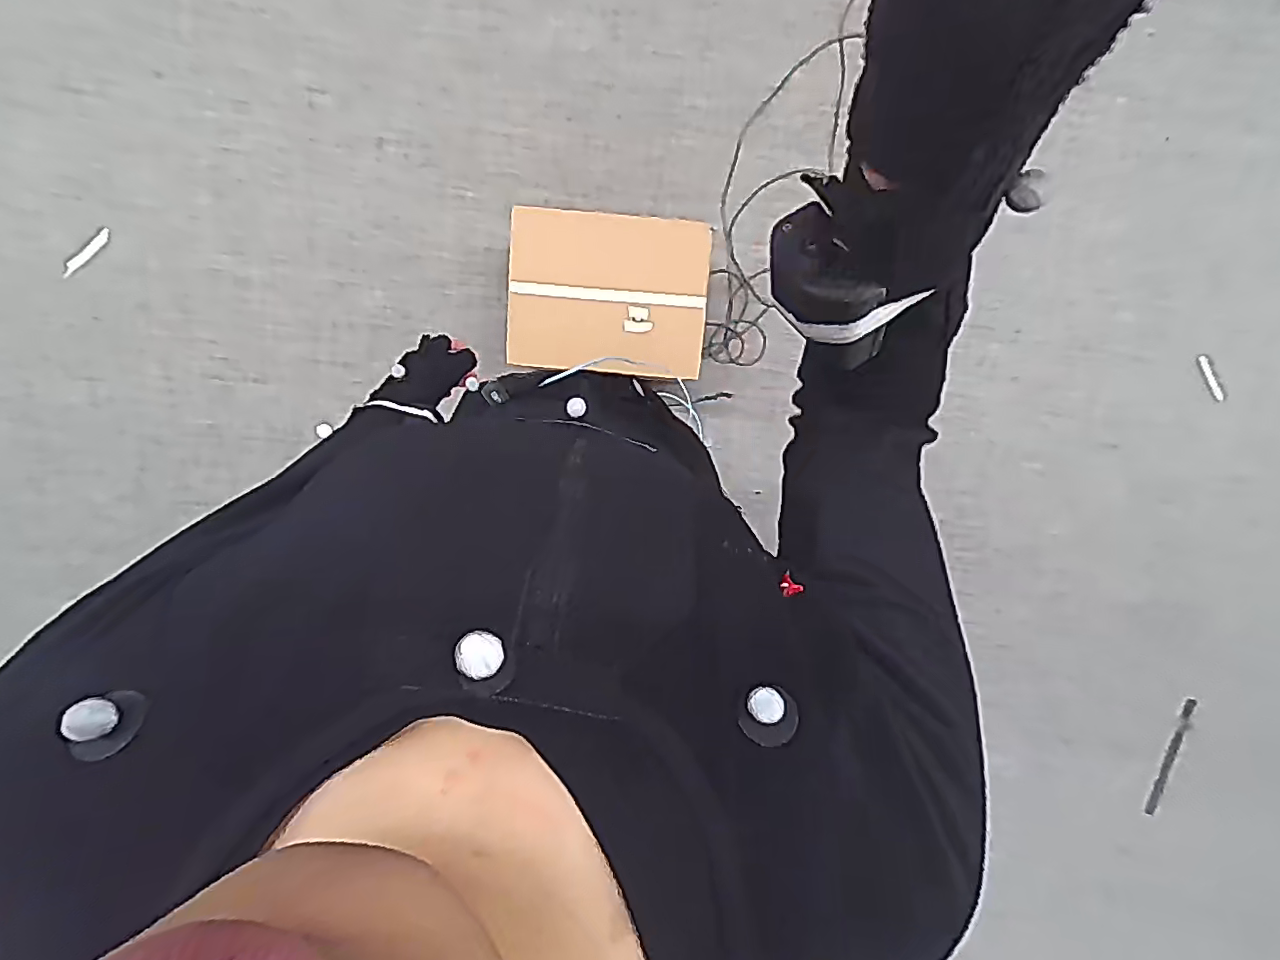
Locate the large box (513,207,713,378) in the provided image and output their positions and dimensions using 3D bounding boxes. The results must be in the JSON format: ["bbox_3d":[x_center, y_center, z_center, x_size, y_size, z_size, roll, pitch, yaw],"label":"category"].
[{"bbox_3d":[-0.065,-0.409,1.259,0.408,0.320,0.320,5,100,-2],"label":"large box"}]
